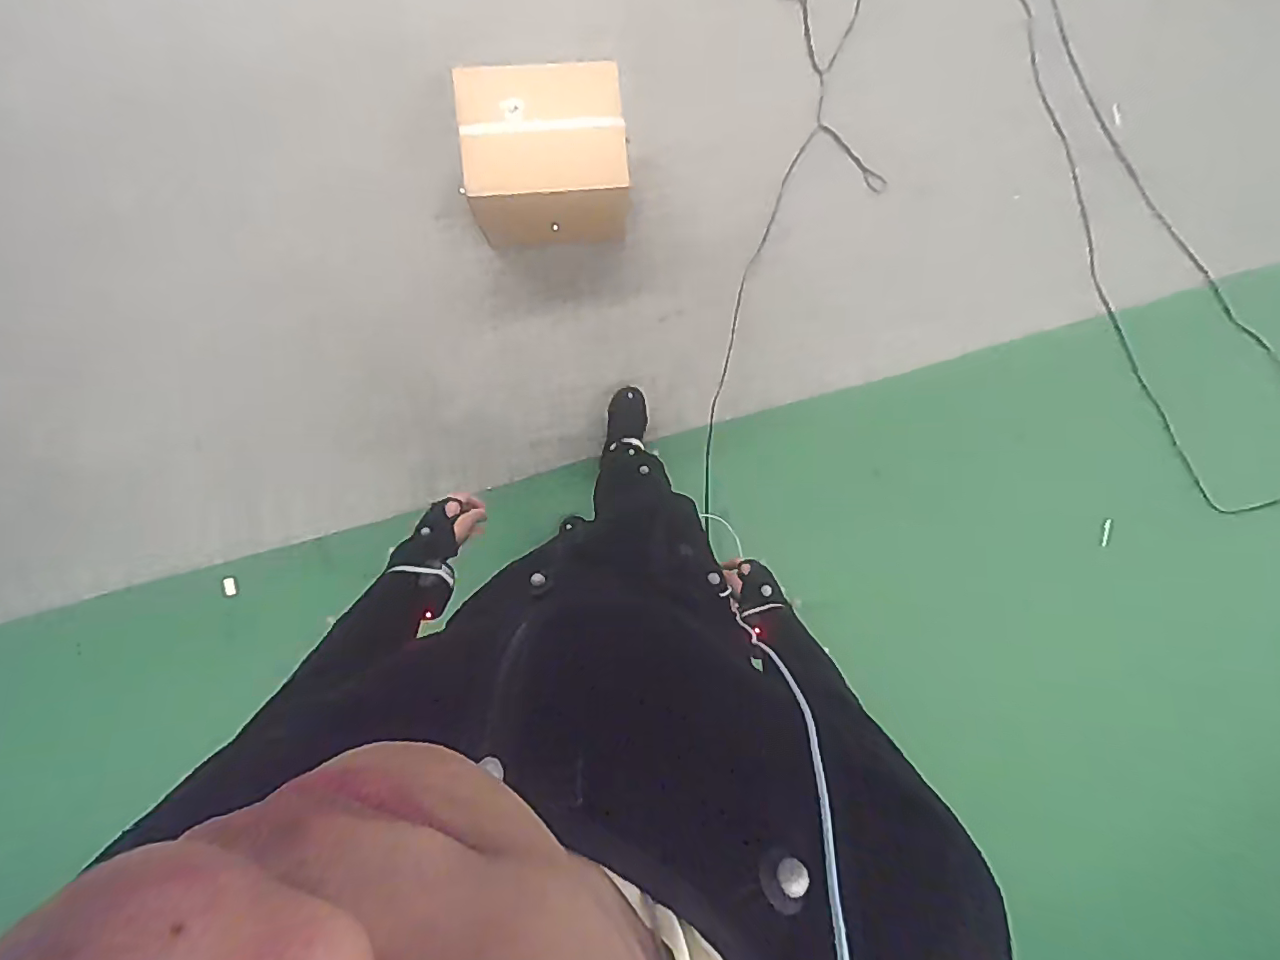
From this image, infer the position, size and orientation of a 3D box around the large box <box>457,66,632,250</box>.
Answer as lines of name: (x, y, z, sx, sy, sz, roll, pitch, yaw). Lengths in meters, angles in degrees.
large box: (-0.241, -0.851, 1.473, 0.408, 0.320, 0.320, -5, 90, -3)
